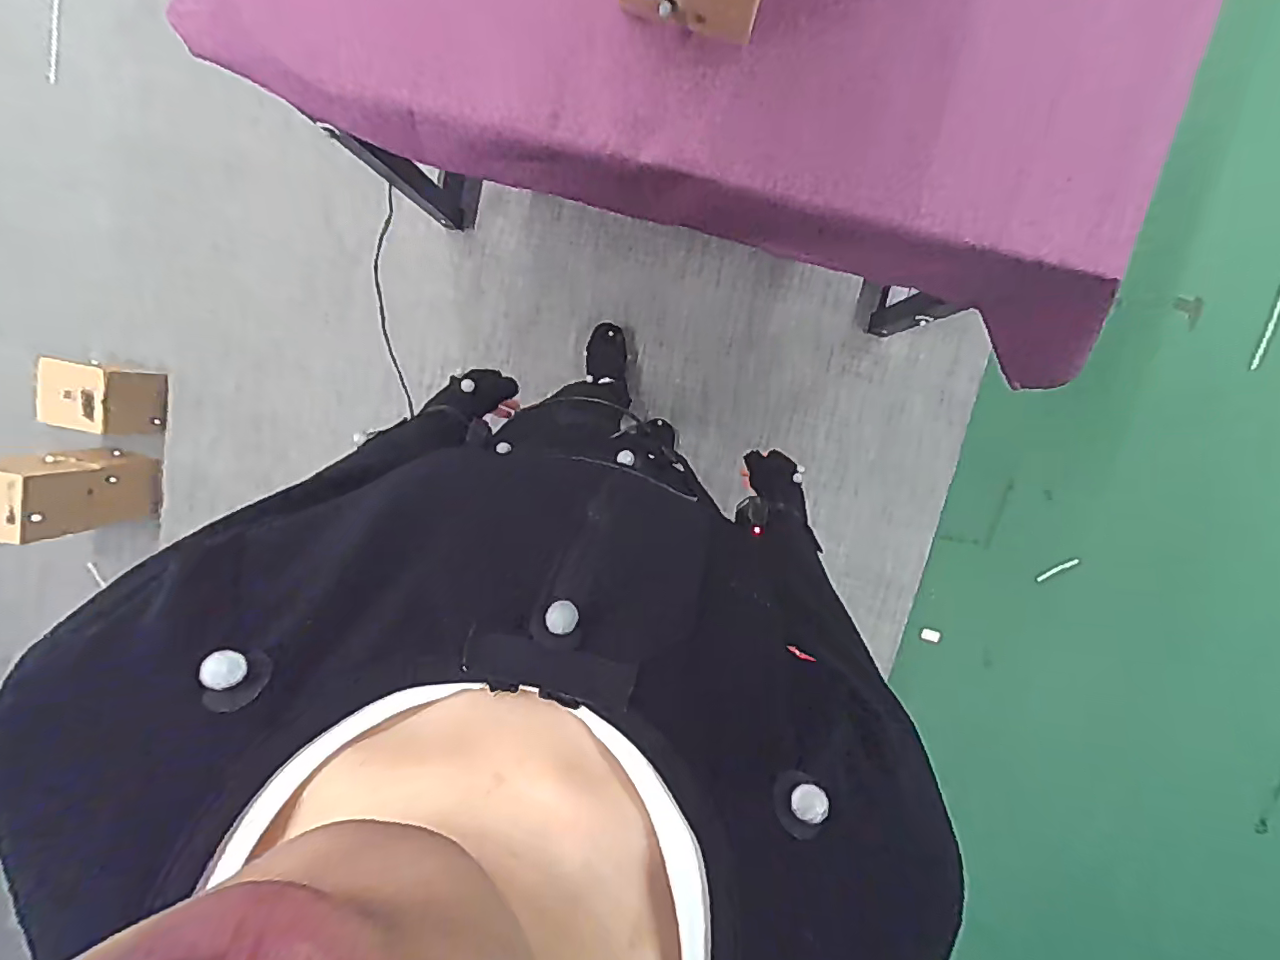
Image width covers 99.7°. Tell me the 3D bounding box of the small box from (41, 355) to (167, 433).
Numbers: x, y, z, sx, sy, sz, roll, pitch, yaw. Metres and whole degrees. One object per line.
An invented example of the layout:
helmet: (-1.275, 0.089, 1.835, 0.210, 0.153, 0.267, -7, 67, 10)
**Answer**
small box: (-1.399, -0.224, 1.422, 0.179, 0.176, 0.168, 12, 98, 2)

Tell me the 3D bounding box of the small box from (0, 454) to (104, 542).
small box: (-1.459, 0.035, 1.295, 0.179, 0.176, 0.168, 13, 98, 2)

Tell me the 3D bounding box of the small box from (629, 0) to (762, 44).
small box: (0.076, -0.626, 0.572, 0.168, 0.176, 0.179, 18, 98, 1)
